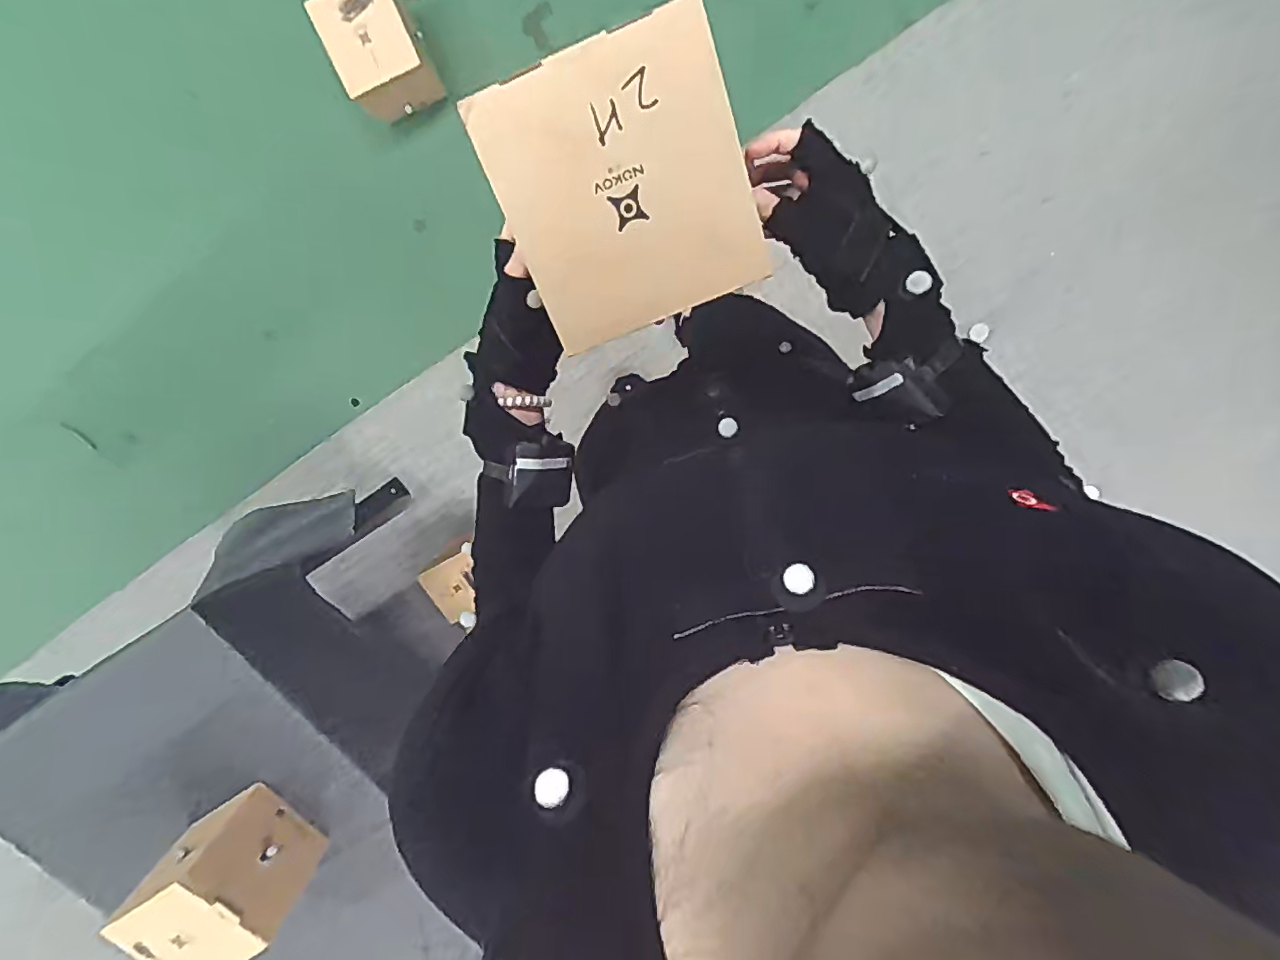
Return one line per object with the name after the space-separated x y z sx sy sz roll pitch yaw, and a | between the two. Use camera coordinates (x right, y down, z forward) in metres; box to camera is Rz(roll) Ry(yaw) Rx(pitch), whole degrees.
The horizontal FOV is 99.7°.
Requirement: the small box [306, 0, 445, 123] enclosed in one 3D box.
-0.541 -0.893 1.131 0.168 0.176 0.179 -21 107 6 | small box

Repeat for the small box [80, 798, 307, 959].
-0.648 0.631 0.817 0.179 0.176 0.168 -34 104 8 | small box
